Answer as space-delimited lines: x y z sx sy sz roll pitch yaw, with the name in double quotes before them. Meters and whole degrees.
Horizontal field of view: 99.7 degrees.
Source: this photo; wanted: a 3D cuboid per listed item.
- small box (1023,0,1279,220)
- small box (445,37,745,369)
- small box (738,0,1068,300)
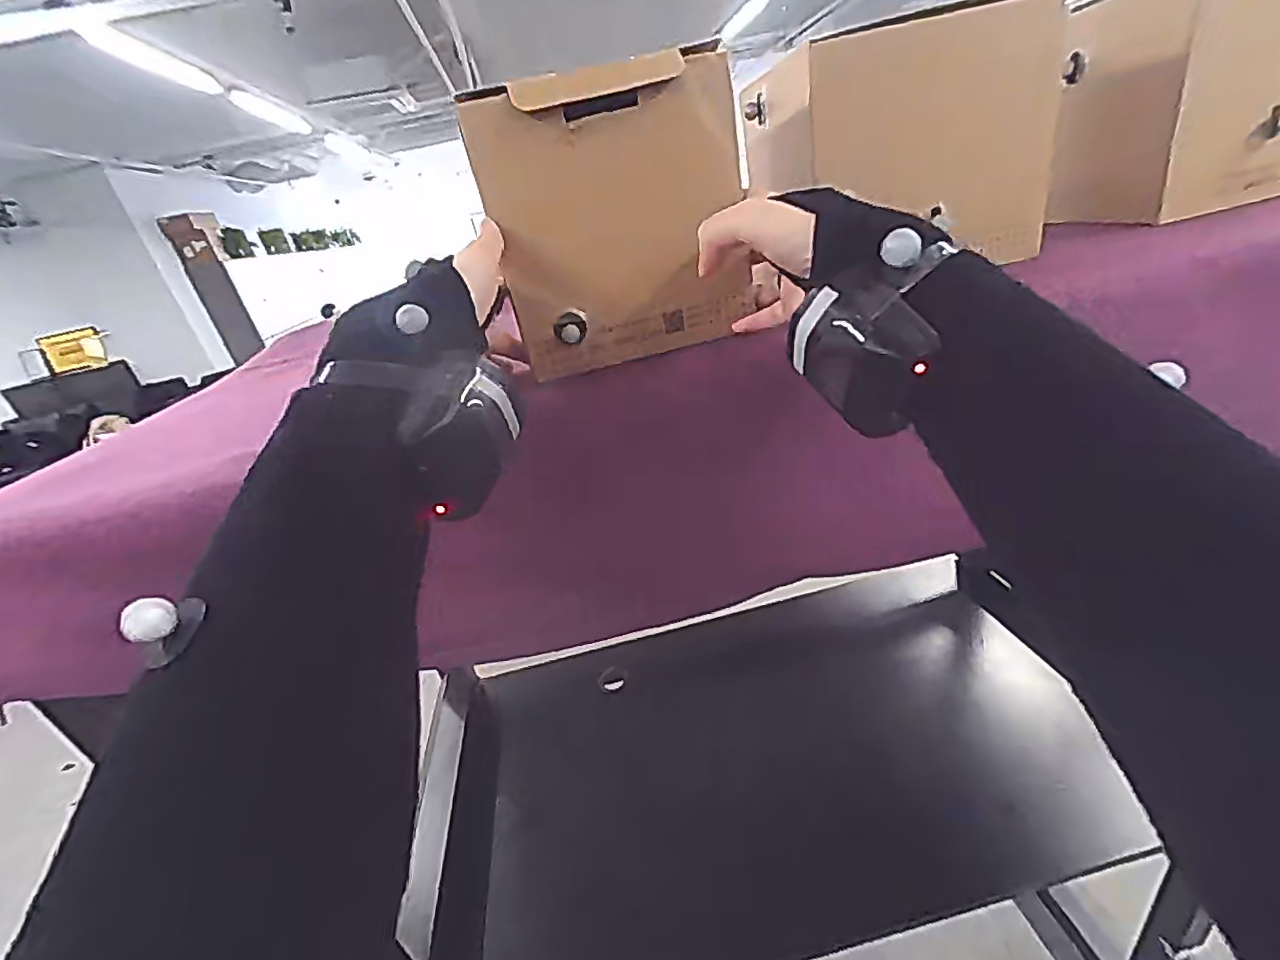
"small box" 0.450 -0.328 0.462 0.168 0.176 0.179 -14 26 0
"small box" -0.030 -0.194 0.414 0.168 0.176 0.179 -15 25 -5
"small box" 0.191 -0.258 0.443 0.179 0.176 0.168 -12 26 -1
